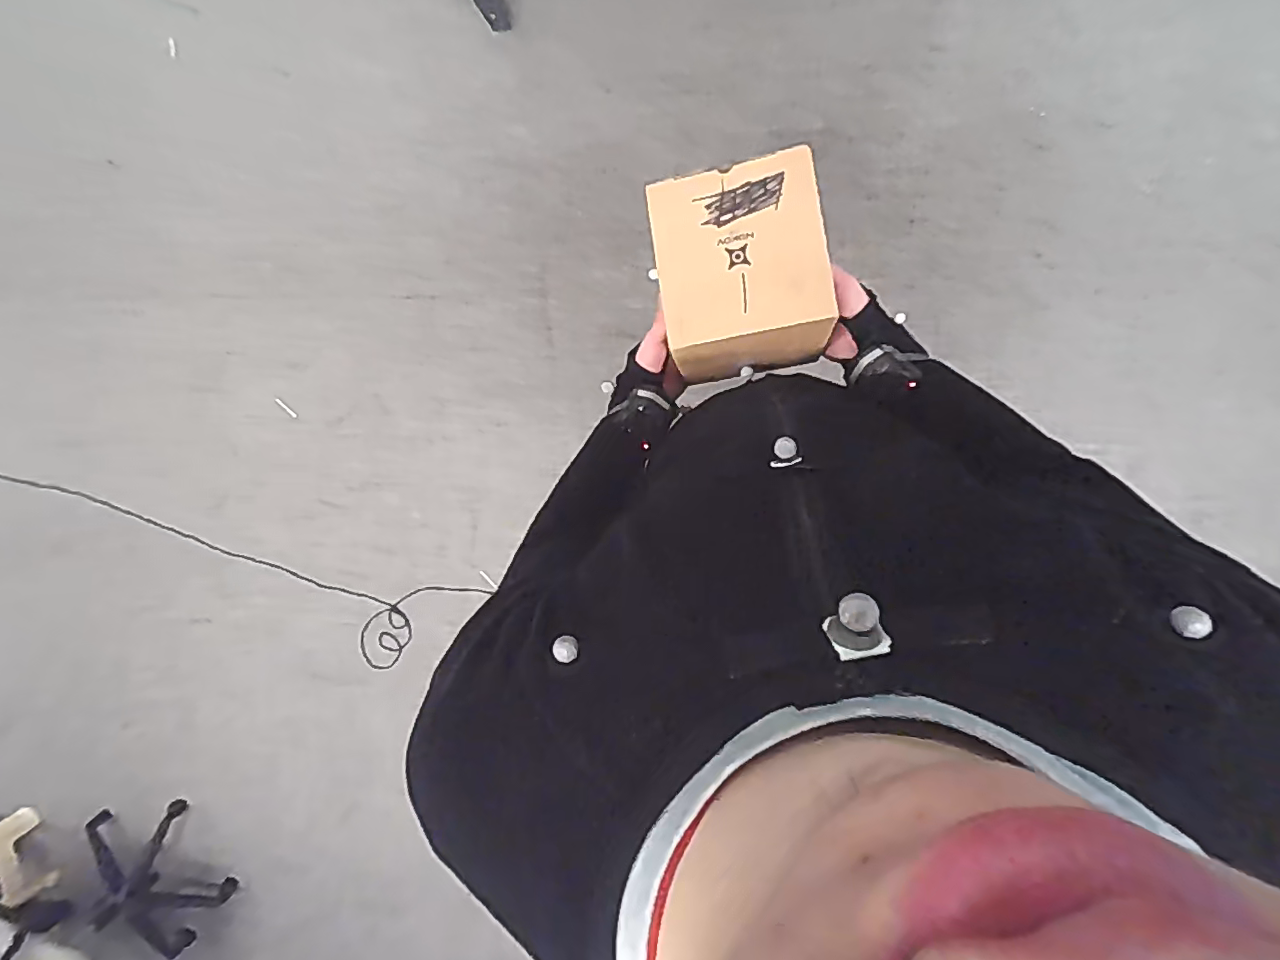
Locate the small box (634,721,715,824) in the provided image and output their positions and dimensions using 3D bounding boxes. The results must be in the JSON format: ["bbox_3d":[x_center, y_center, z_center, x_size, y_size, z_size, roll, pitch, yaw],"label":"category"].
[{"bbox_3d":[0.107,0.867,1.618,0.168,0.176,0.179,44,103,1],"label":"small box"}]
